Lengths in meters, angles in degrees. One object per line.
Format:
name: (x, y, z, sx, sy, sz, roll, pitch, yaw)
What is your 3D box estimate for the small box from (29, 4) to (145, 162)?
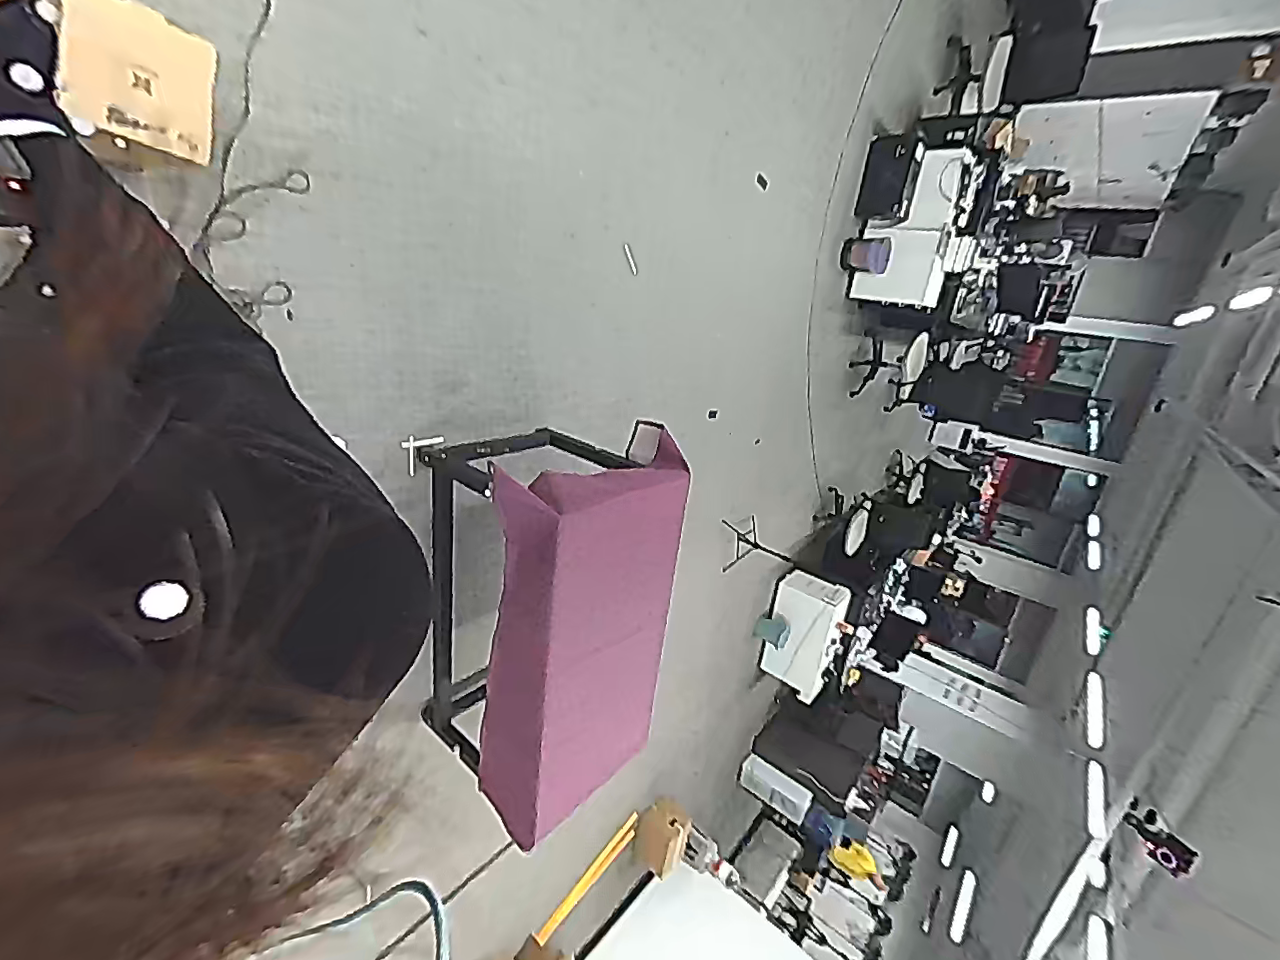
small box: (-0.900, -0.652, 0.921, 0.179, 0.176, 0.168, -12, 117, -49)

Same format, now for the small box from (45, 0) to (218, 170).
small box: (-0.776, -0.601, 0.825, 0.168, 0.176, 0.179, -1, 108, -53)

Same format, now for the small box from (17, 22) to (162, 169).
small box: (-1.024, -0.702, 1.012, 0.168, 0.176, 0.179, -14, 119, -49)
